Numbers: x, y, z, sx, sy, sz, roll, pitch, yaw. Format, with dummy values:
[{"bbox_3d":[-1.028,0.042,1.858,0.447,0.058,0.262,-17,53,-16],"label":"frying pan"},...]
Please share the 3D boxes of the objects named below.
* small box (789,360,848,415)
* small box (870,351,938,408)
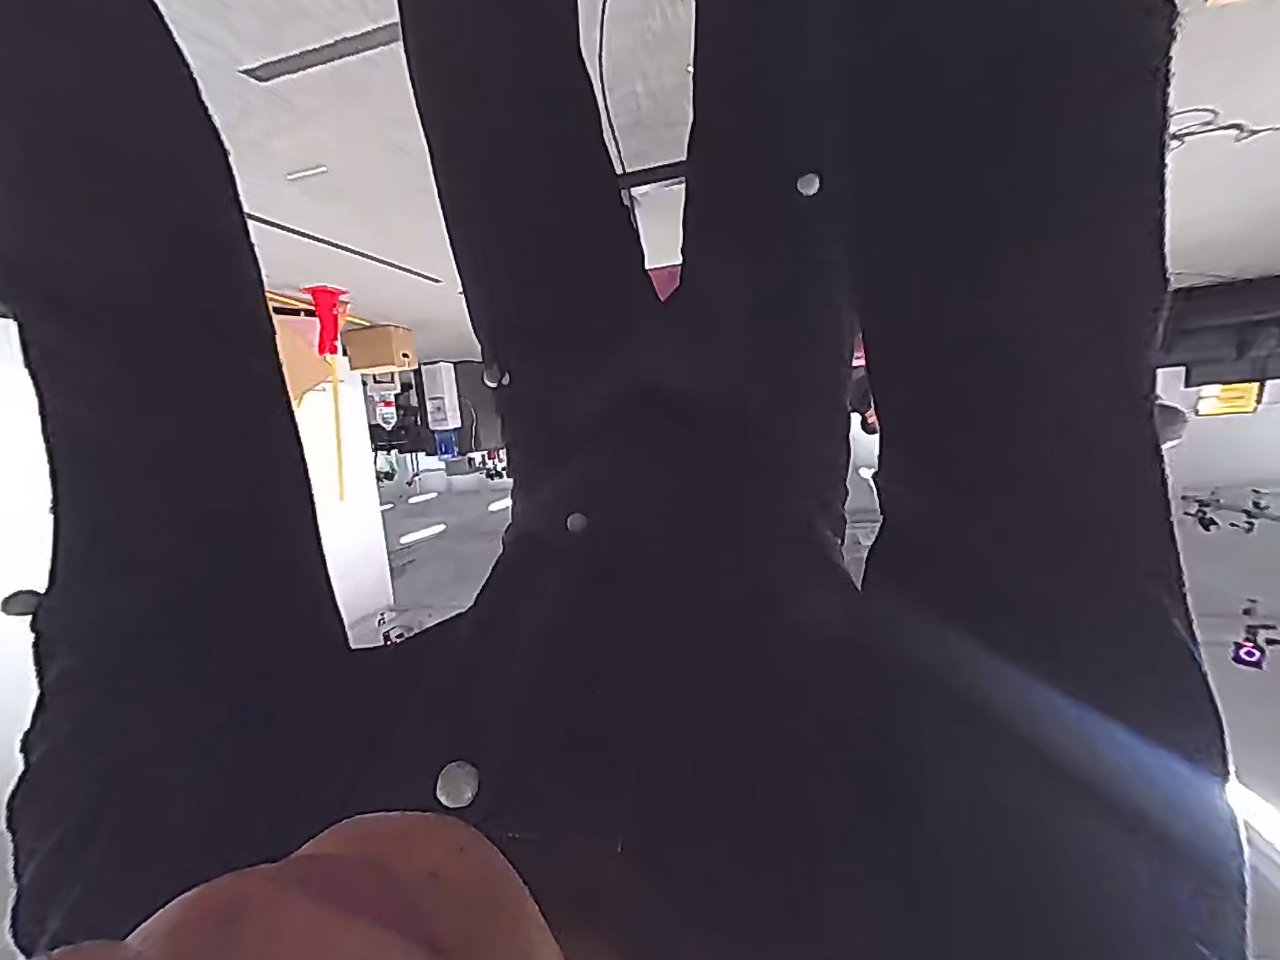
[{"bbox_3d":[0.621,-0.320,1.873,0.179,0.176,0.168,-1,-173,24],"label":"small box"},{"bbox_3d":[0.869,-0.334,1.793,0.168,0.176,0.179,-3,-173,10],"label":"small box"}]
